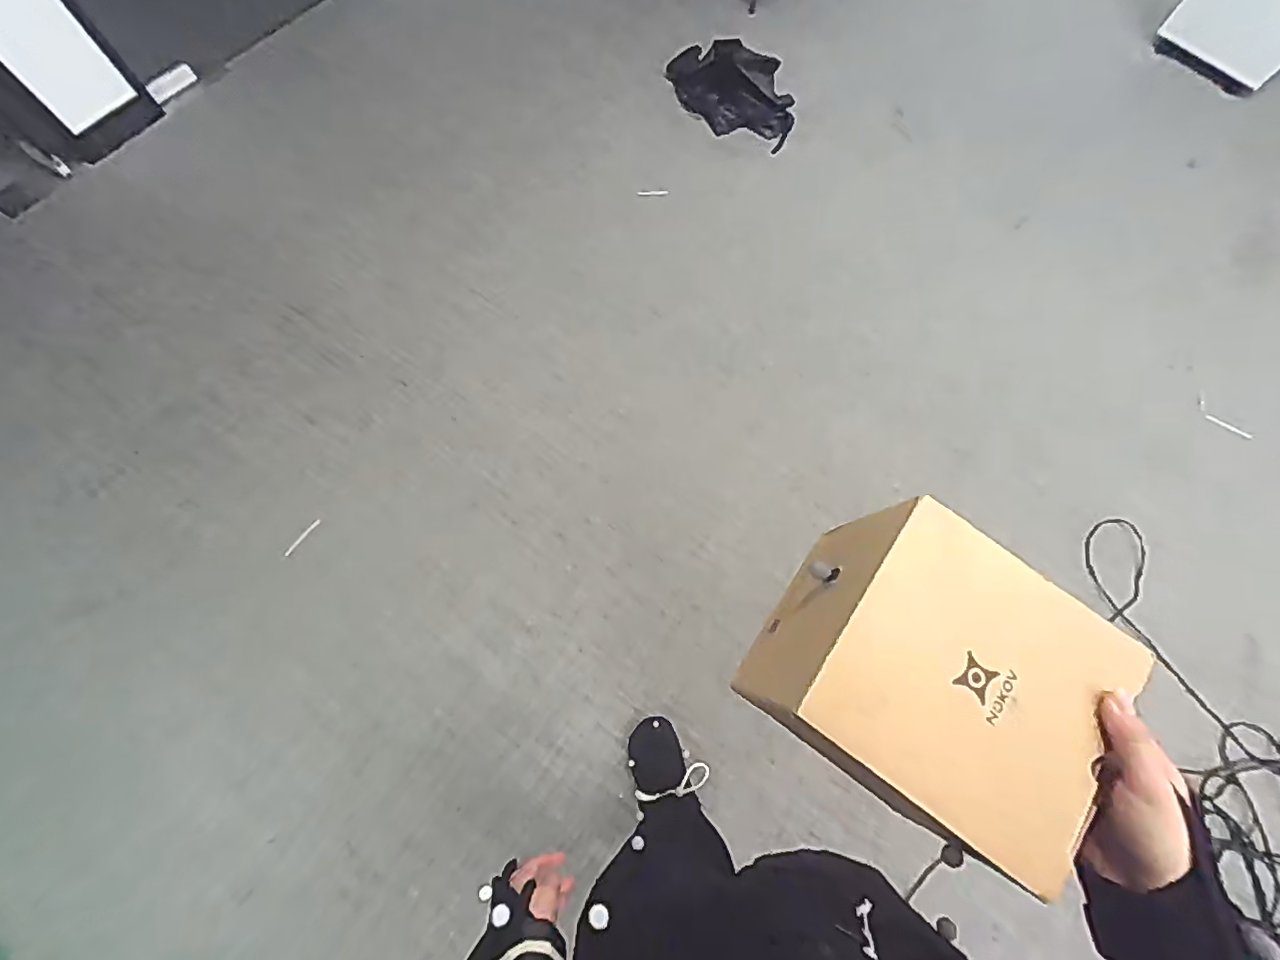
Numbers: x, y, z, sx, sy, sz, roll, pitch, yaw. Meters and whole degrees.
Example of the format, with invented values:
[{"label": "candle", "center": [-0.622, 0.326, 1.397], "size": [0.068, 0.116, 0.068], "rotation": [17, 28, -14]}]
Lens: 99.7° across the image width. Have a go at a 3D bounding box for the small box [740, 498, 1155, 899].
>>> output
[{"label": "small box", "center": [0.200, 0.143, 0.402], "size": [0.179, 0.176, 0.168], "rotation": [36, 75, 4]}]
